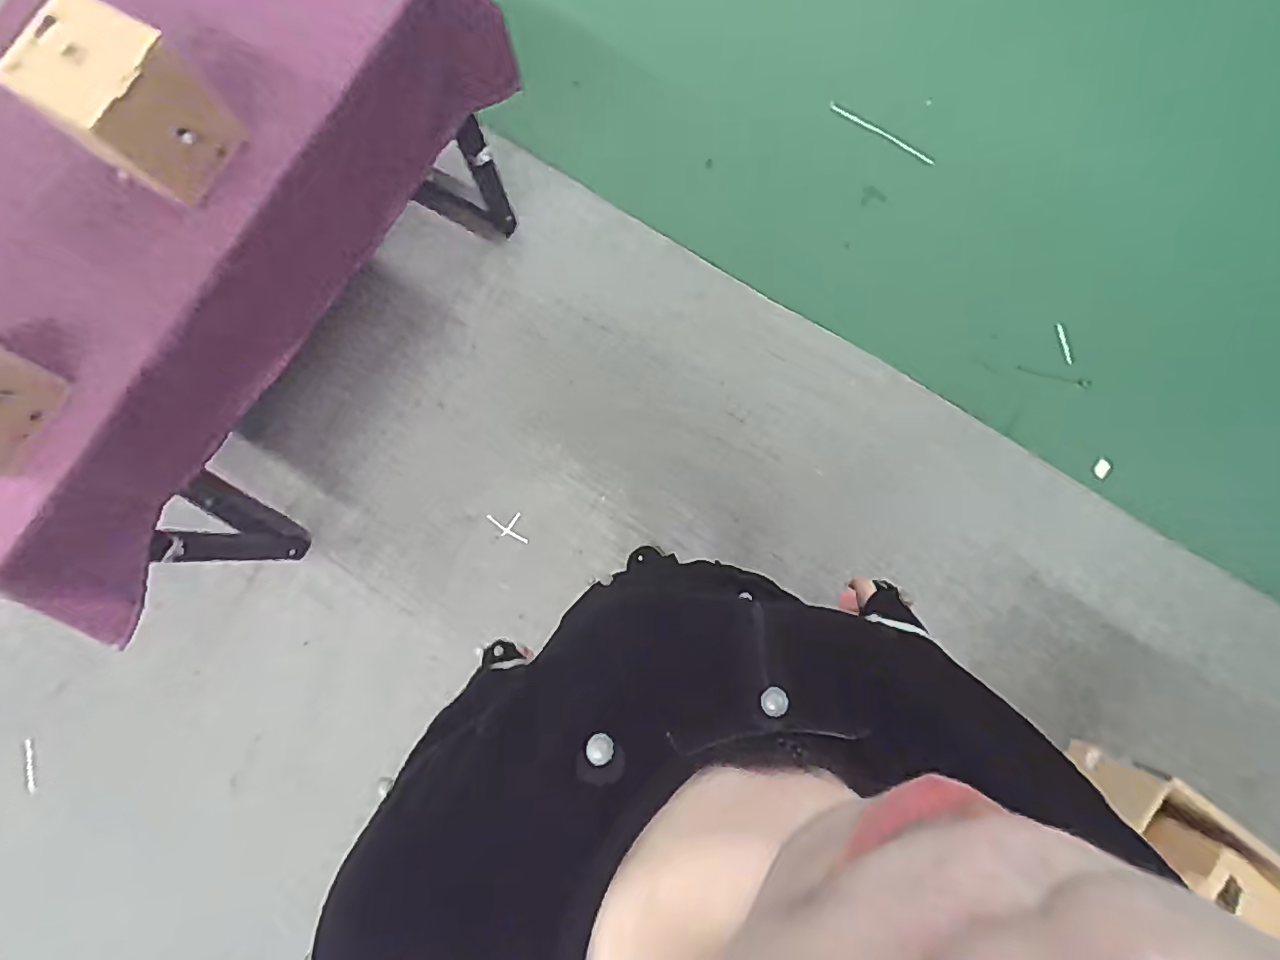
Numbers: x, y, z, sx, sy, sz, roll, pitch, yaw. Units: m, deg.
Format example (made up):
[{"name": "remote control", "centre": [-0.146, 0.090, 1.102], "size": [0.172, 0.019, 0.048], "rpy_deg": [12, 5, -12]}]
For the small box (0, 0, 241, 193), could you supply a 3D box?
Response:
[{"name": "small box", "centre": [-0.751, -0.563, 0.794], "size": [0.179, 0.176, 0.168], "rpy_deg": [30, 83, 3]}]

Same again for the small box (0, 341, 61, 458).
[{"name": "small box", "centre": [-0.979, -0.133, 0.736], "size": [0.179, 0.176, 0.168], "rpy_deg": [28, 82, 4]}]
